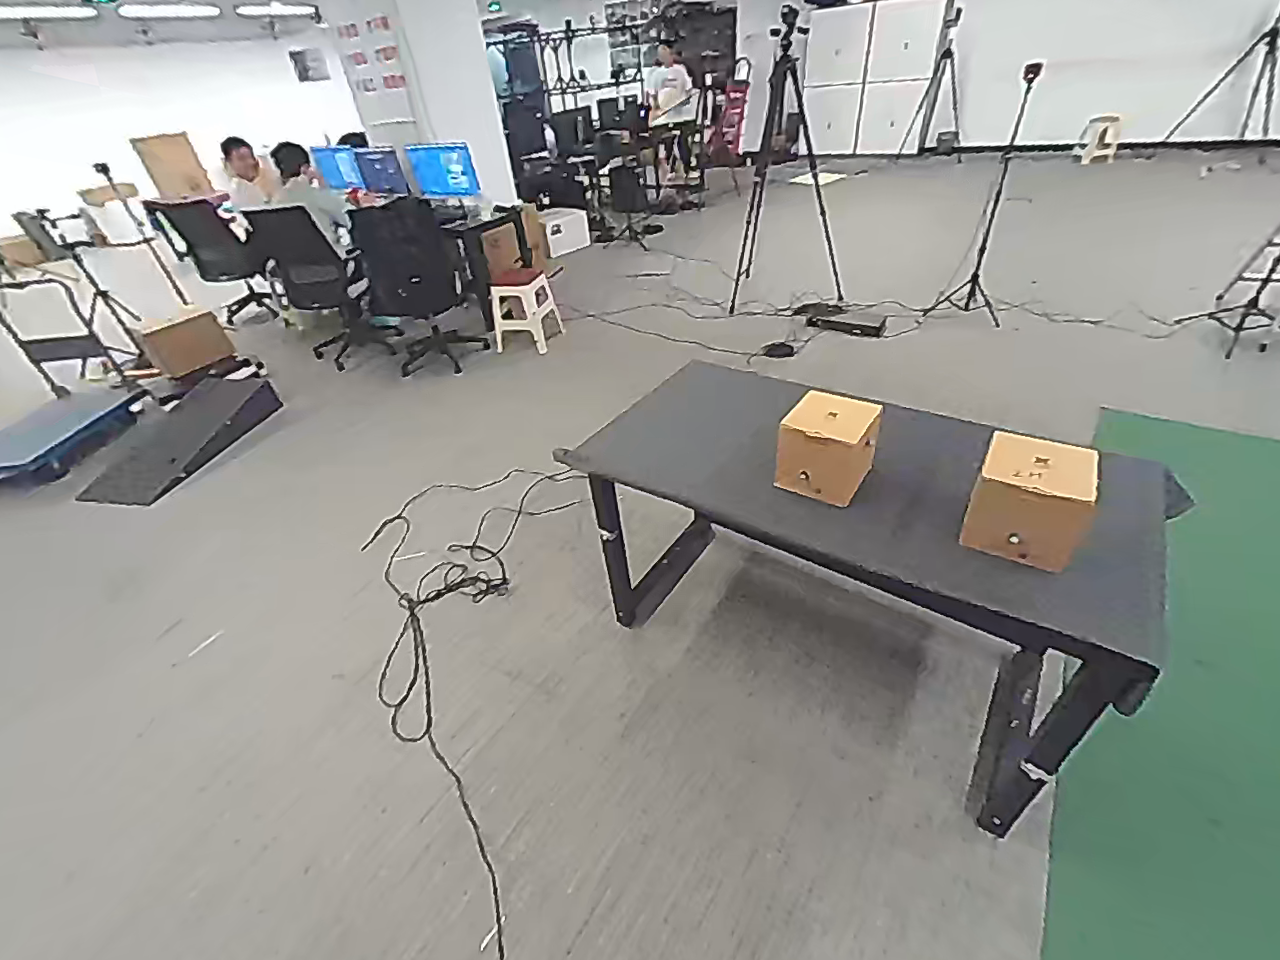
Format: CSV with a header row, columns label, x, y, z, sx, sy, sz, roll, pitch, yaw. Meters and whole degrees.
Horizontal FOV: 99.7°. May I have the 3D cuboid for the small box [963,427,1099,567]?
label,x,y,z,sx,sy,sz,roll,pitch,yaw
small box,0.727,0.029,1.015,0.168,0.176,0.179,17,44,31

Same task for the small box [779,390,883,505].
label,x,y,z,sx,sy,sz,roll,pitch,yaw
small box,0.421,-0.075,1.211,0.168,0.176,0.179,20,45,31
